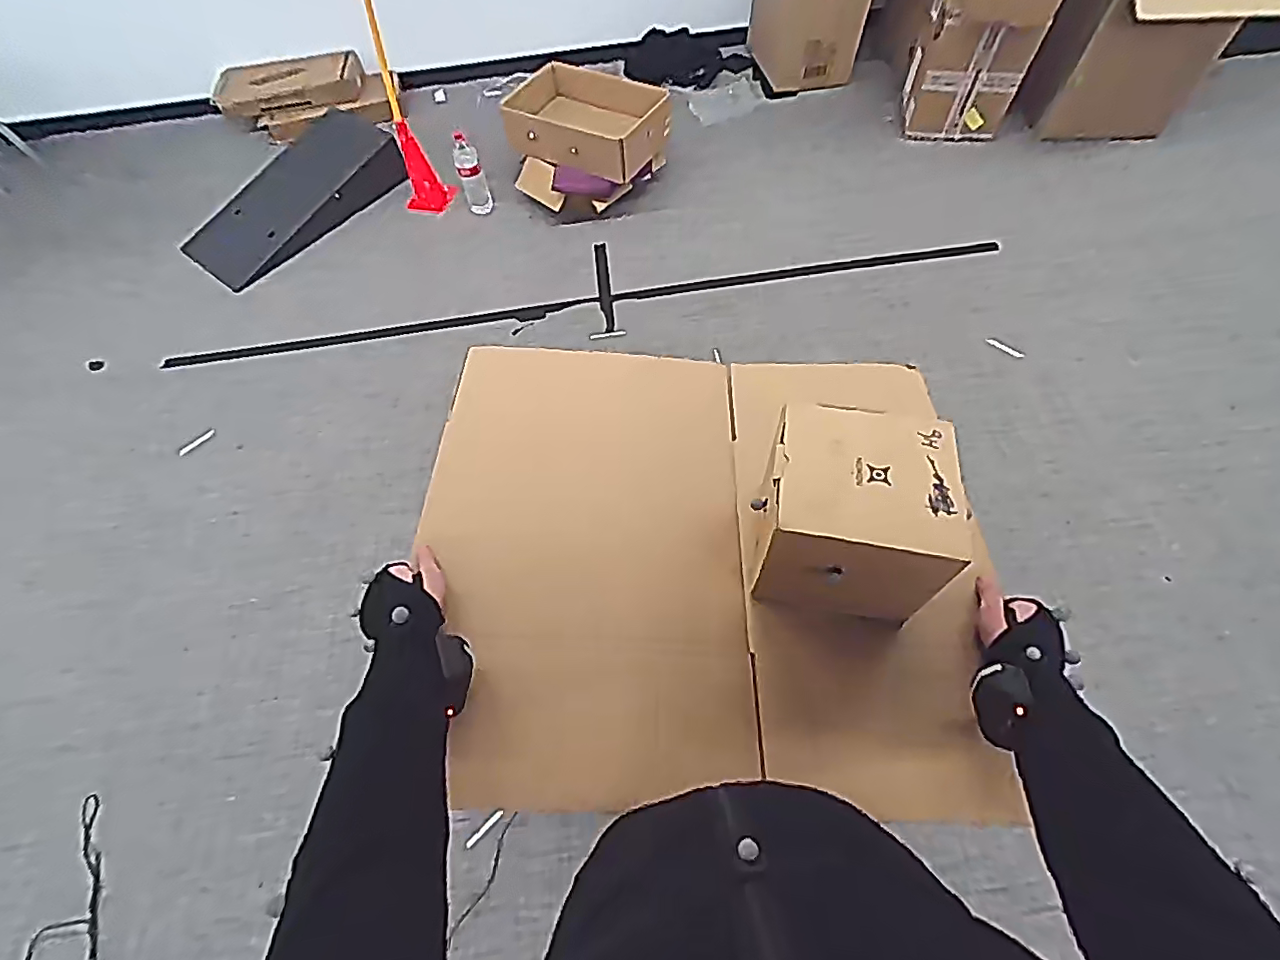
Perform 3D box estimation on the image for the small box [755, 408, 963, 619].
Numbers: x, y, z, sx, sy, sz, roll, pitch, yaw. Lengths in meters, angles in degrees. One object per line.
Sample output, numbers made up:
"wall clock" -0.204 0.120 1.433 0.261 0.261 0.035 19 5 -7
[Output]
"small box" 0.230 0.042 0.611 0.179 0.176 0.168 8 57 9
